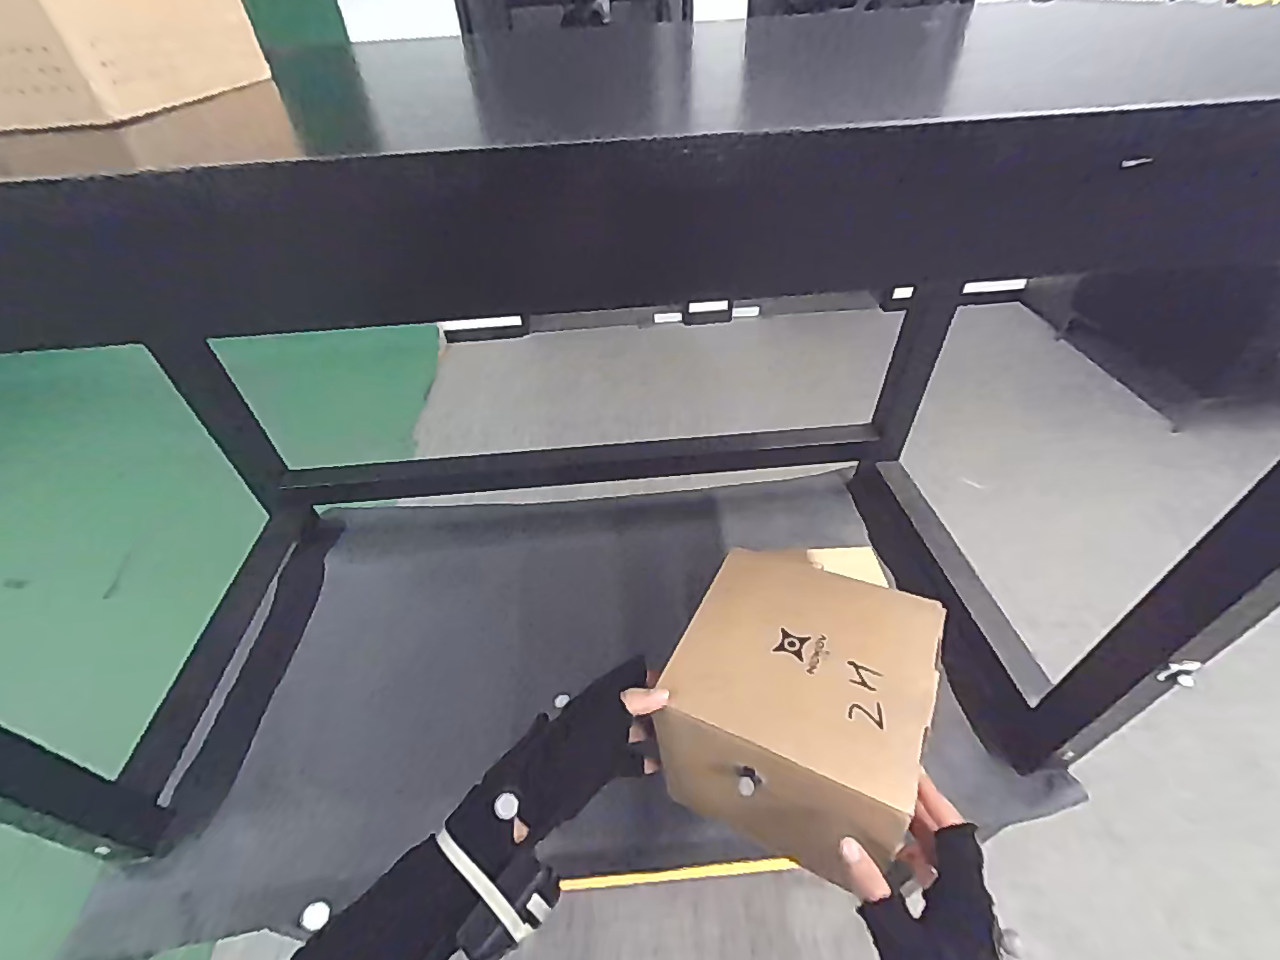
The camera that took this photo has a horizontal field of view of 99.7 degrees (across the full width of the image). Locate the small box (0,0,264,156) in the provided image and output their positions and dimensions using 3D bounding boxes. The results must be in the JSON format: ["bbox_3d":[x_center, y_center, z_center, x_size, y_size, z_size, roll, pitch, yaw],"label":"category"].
[{"bbox_3d":[-0.320,-0.257,0.247,0.168,0.176,0.179,-6,42,-2],"label":"small box"}]
